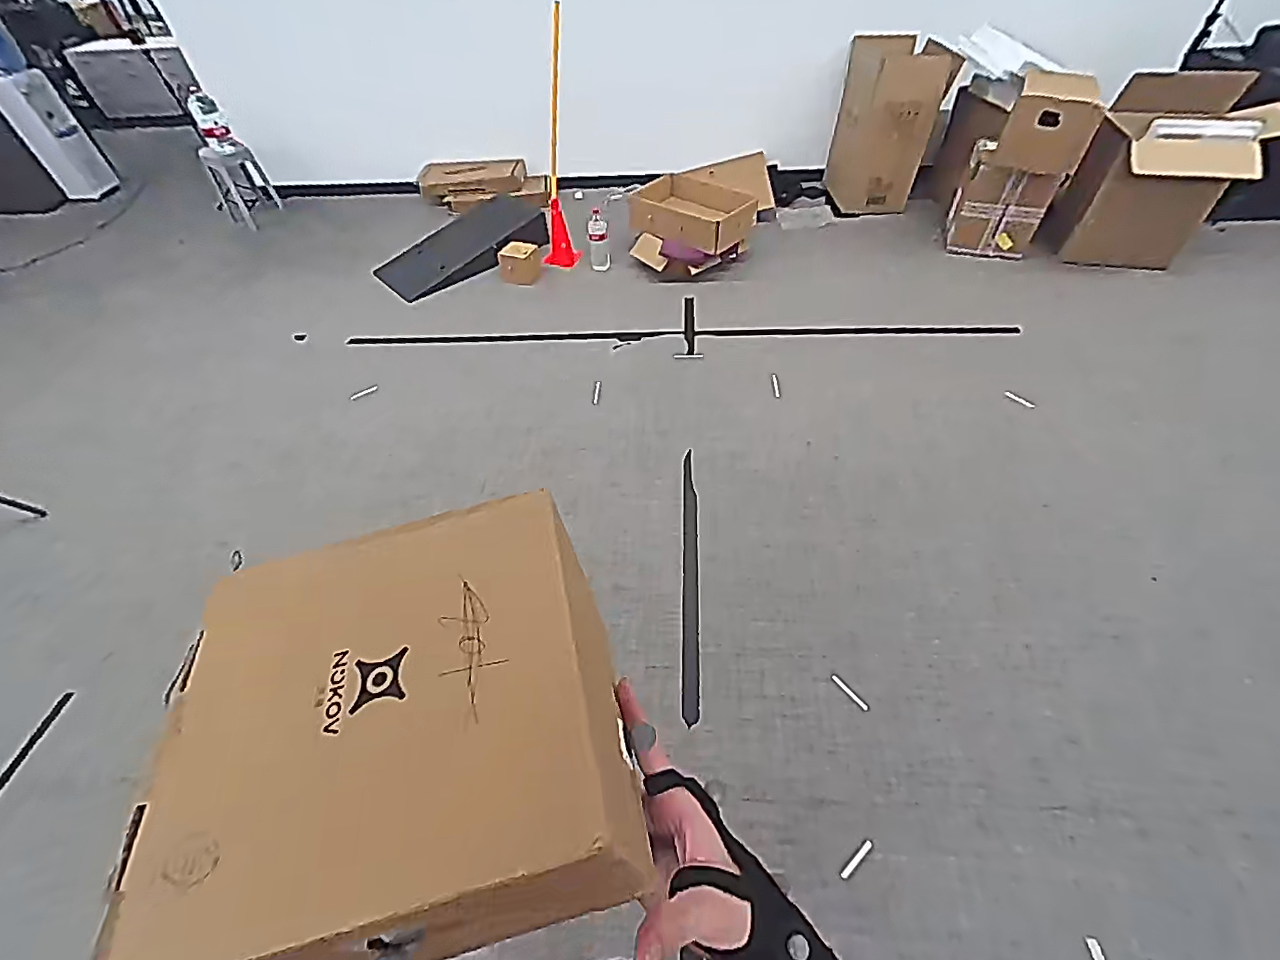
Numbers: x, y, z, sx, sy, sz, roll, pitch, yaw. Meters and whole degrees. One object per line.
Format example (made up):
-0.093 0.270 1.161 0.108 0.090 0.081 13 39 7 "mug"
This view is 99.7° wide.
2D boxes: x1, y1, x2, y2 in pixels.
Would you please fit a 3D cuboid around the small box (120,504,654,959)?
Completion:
-0.101 0.145 0.298 0.179 0.176 0.168 -15 49 -4 "small box"
